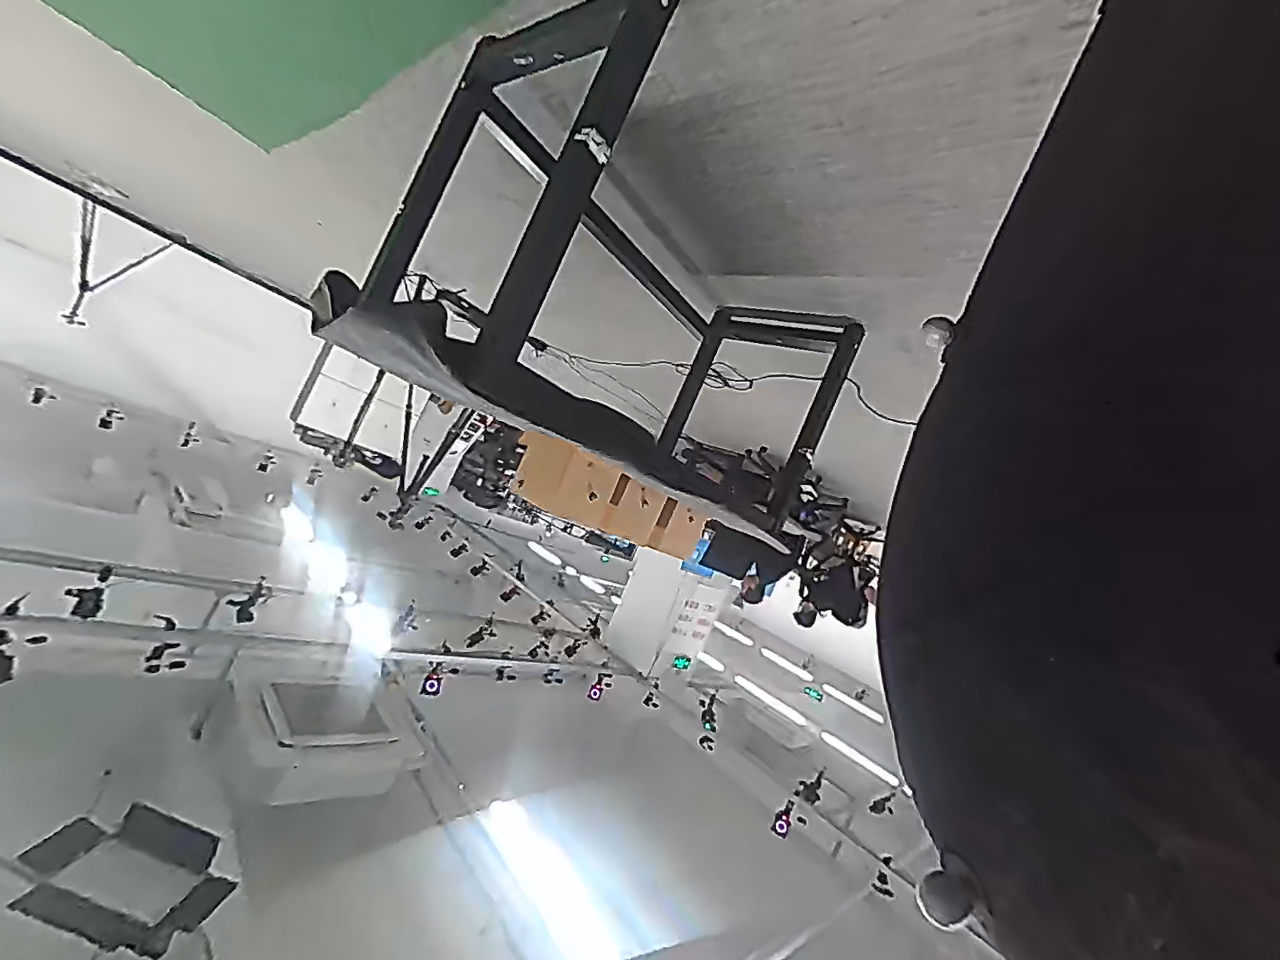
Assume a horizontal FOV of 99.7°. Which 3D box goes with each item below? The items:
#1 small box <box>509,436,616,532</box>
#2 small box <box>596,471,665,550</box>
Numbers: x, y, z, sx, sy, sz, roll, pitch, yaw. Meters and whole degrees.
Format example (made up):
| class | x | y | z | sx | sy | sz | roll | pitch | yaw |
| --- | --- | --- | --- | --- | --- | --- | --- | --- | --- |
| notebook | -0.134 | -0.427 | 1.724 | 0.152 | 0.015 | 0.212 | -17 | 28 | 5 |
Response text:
| class | x | y | z | sx | sy | sz | roll | pitch | yaw |
| --- | --- | --- | --- | --- | --- | --- | --- | --- | --- |
| small box | -0.179 | 0.005 | 1.308 | 0.179 | 0.176 | 0.168 | 23 | 177 | 44 |
| small box | -0.061 | 0.069 | 1.488 | 0.179 | 0.176 | 0.168 | 22 | 177 | 44 |
